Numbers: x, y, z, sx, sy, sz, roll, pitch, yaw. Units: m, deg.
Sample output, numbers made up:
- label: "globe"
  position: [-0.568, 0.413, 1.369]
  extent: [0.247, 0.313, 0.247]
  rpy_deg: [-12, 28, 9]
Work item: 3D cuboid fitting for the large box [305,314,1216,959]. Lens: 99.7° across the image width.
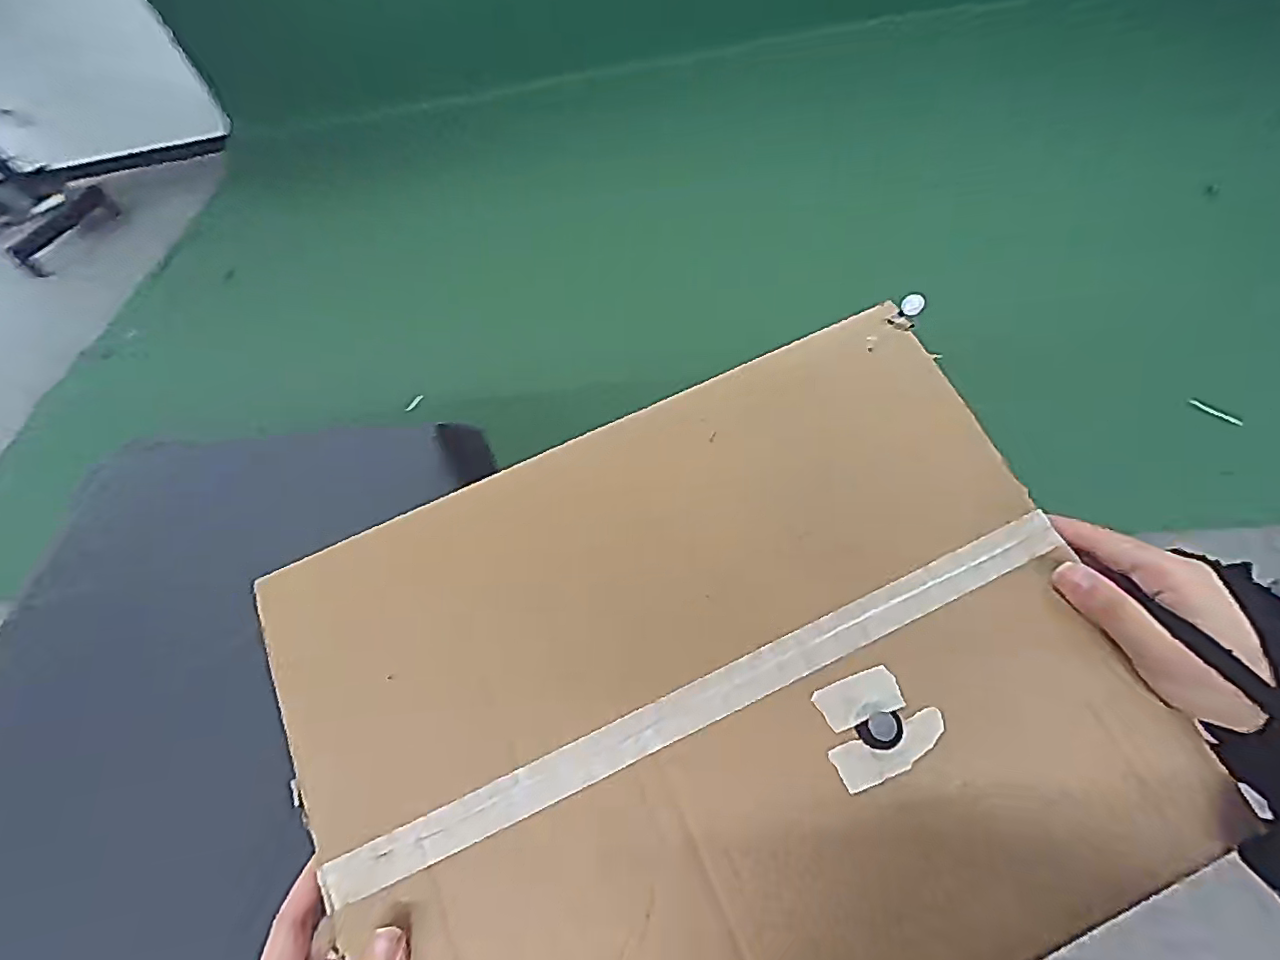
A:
- label: "large box"
  position: [0.049, 0.147, 0.431]
  extent: [0.408, 0.320, 0.320]
  rpy_deg: [-24, 75, -6]
